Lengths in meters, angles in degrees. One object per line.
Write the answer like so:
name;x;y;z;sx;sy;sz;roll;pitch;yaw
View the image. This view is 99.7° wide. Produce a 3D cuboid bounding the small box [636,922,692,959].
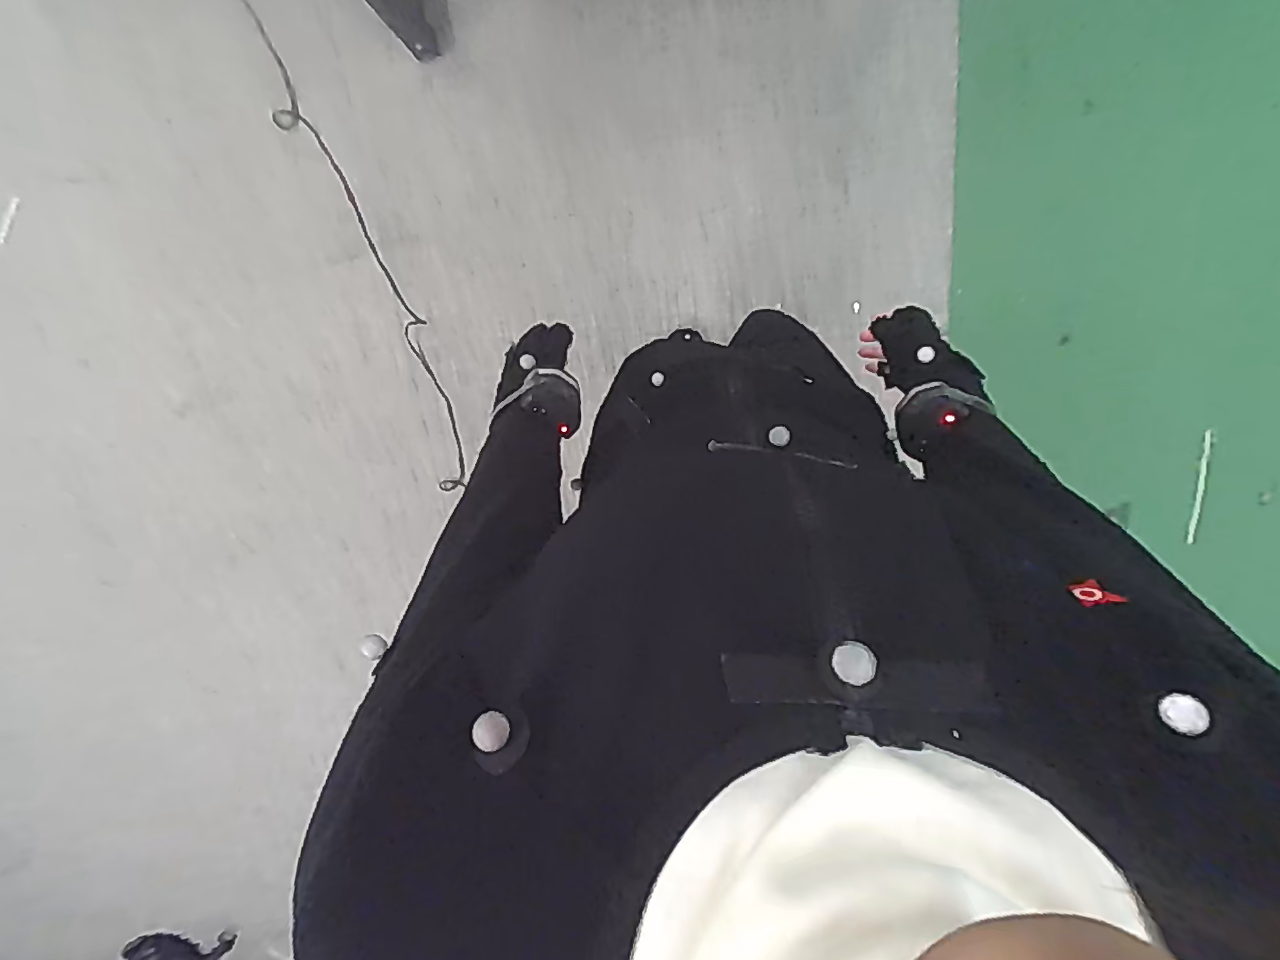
small box;0.078;1.490;1.635;0.168;0.176;0.179;-6;105;1
